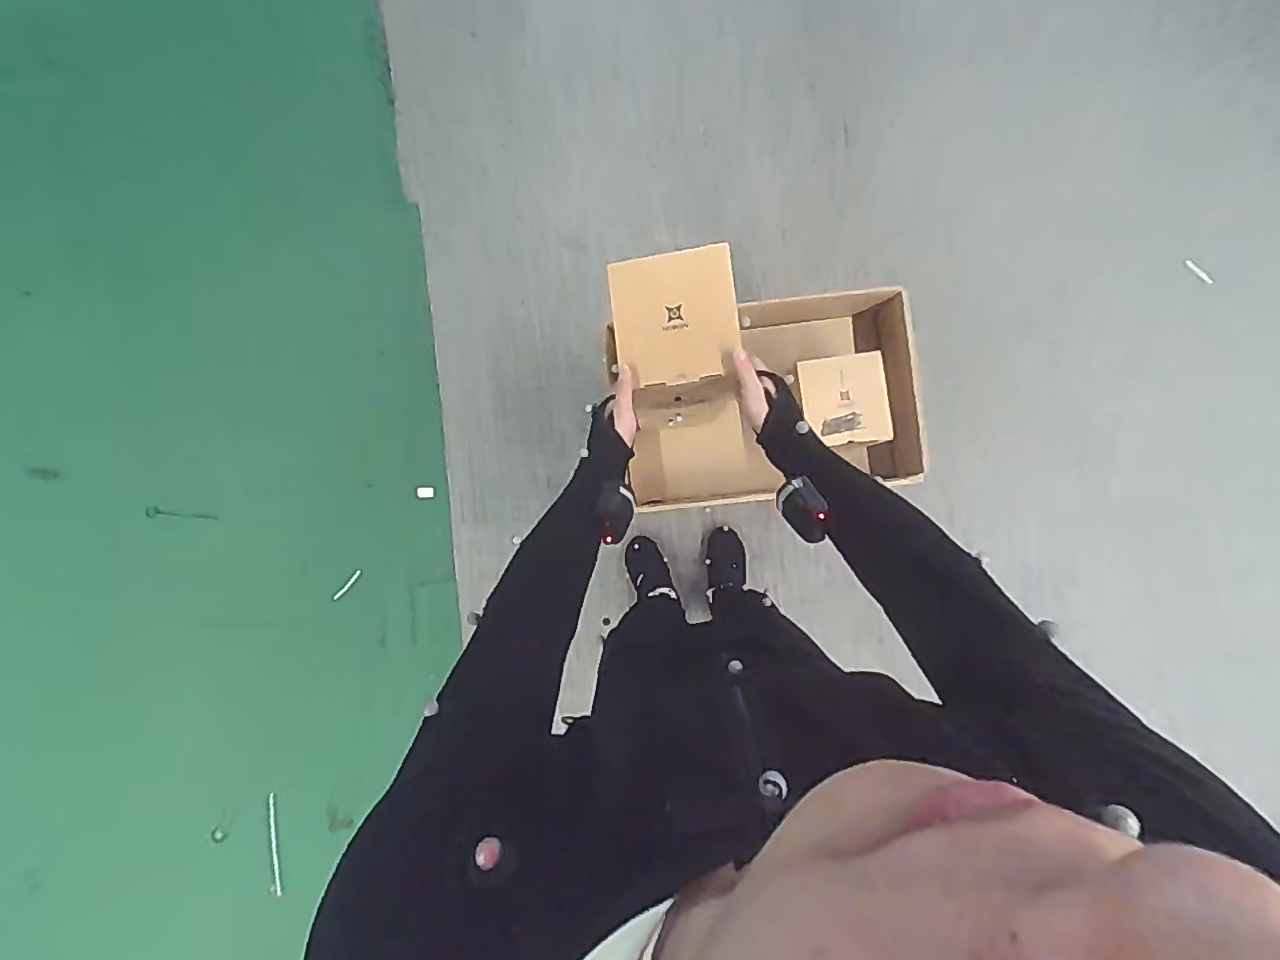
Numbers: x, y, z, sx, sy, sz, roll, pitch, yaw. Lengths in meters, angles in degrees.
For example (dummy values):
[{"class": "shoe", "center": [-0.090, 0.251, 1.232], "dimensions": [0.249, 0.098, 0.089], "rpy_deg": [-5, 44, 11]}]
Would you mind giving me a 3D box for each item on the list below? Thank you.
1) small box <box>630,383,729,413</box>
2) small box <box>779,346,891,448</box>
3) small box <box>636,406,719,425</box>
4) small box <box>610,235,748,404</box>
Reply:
[{"class": "small box", "center": [0.065, -0.222, 0.968], "dimensions": [0.168, 0.176, 0.179], "rpy_deg": [-2, 89, 2]}, {"class": "small box", "center": [0.393, -0.161, 1.117], "dimensions": [0.168, 0.176, 0.179], "rpy_deg": [-7, 87, 2]}, {"class": "small box", "center": [0.070, -0.218, 1.132], "dimensions": [0.168, 0.176, 0.179], "rpy_deg": [-4, 88, 2]}, {"class": "small box", "center": [0.058, -0.218, 0.779], "dimensions": [0.168, 0.176, 0.179], "rpy_deg": [-8, 88, 8]}]
